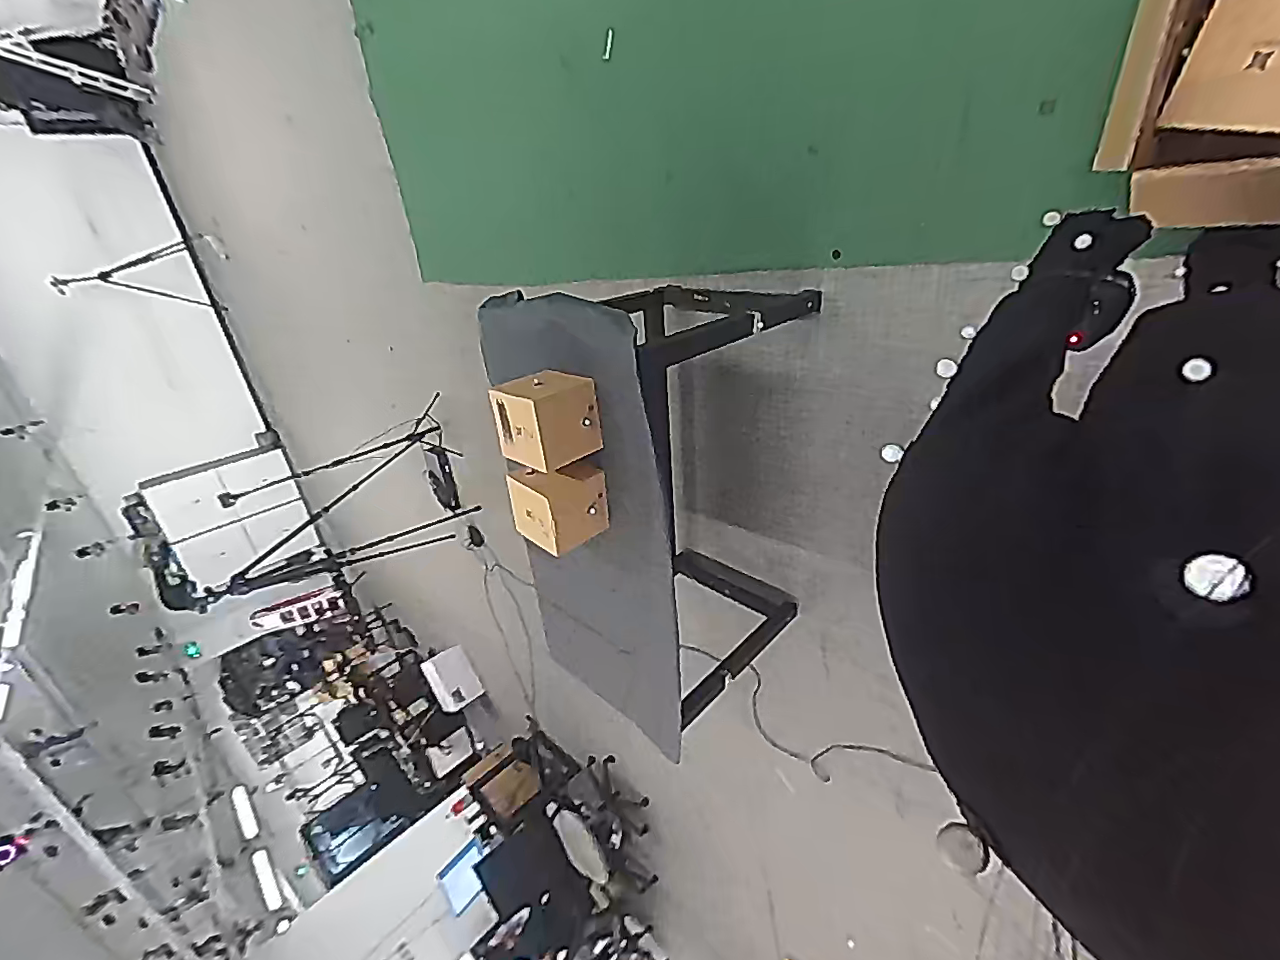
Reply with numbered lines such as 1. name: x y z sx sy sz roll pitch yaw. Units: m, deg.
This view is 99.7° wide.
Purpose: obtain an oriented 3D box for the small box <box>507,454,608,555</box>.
1. small box: -0.198 0.051 1.330 0.179 0.176 0.168 23 129 39
